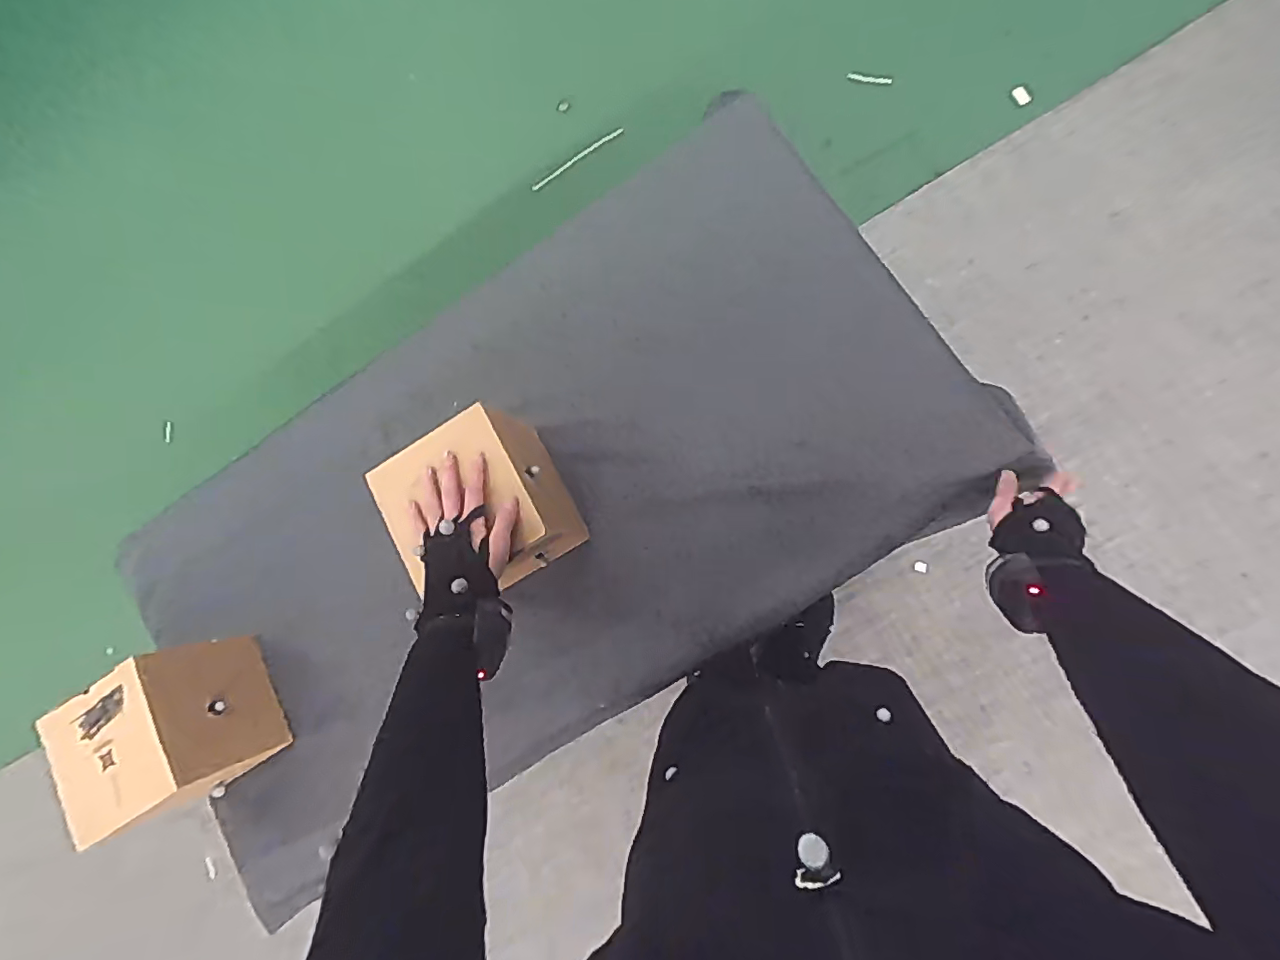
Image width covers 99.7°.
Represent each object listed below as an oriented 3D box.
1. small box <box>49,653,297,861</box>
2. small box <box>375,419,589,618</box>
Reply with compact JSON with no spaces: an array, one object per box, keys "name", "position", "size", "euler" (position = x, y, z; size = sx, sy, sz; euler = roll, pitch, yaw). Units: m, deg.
[{"name":"small box","position":[-0.620,0.355,0.736],"size":[0.168,0.176,0.179],"euler":[-33,79,6]},{"name":"small box","position":[-0.187,0.050,0.688],"size":[0.168,0.176,0.179],"euler":[-31,78,5]}]
